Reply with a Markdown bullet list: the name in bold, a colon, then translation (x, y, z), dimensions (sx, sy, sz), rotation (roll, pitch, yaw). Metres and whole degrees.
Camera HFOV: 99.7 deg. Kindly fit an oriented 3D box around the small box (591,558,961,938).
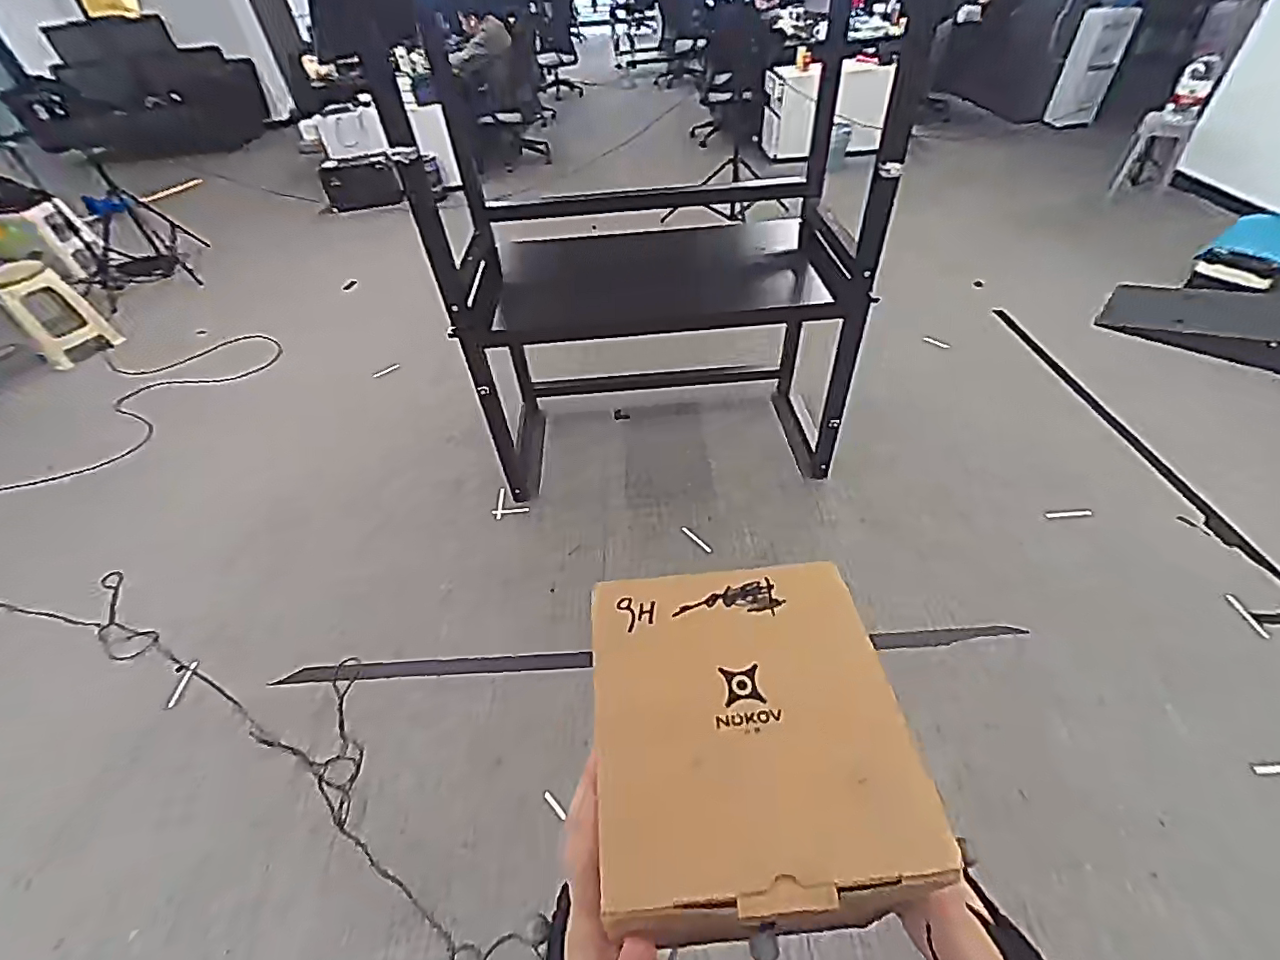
- **small box**: translation (0.059, 0.175, 0.349), dimensions (0.168, 0.176, 0.179), rotation (-4, 46, -2)
